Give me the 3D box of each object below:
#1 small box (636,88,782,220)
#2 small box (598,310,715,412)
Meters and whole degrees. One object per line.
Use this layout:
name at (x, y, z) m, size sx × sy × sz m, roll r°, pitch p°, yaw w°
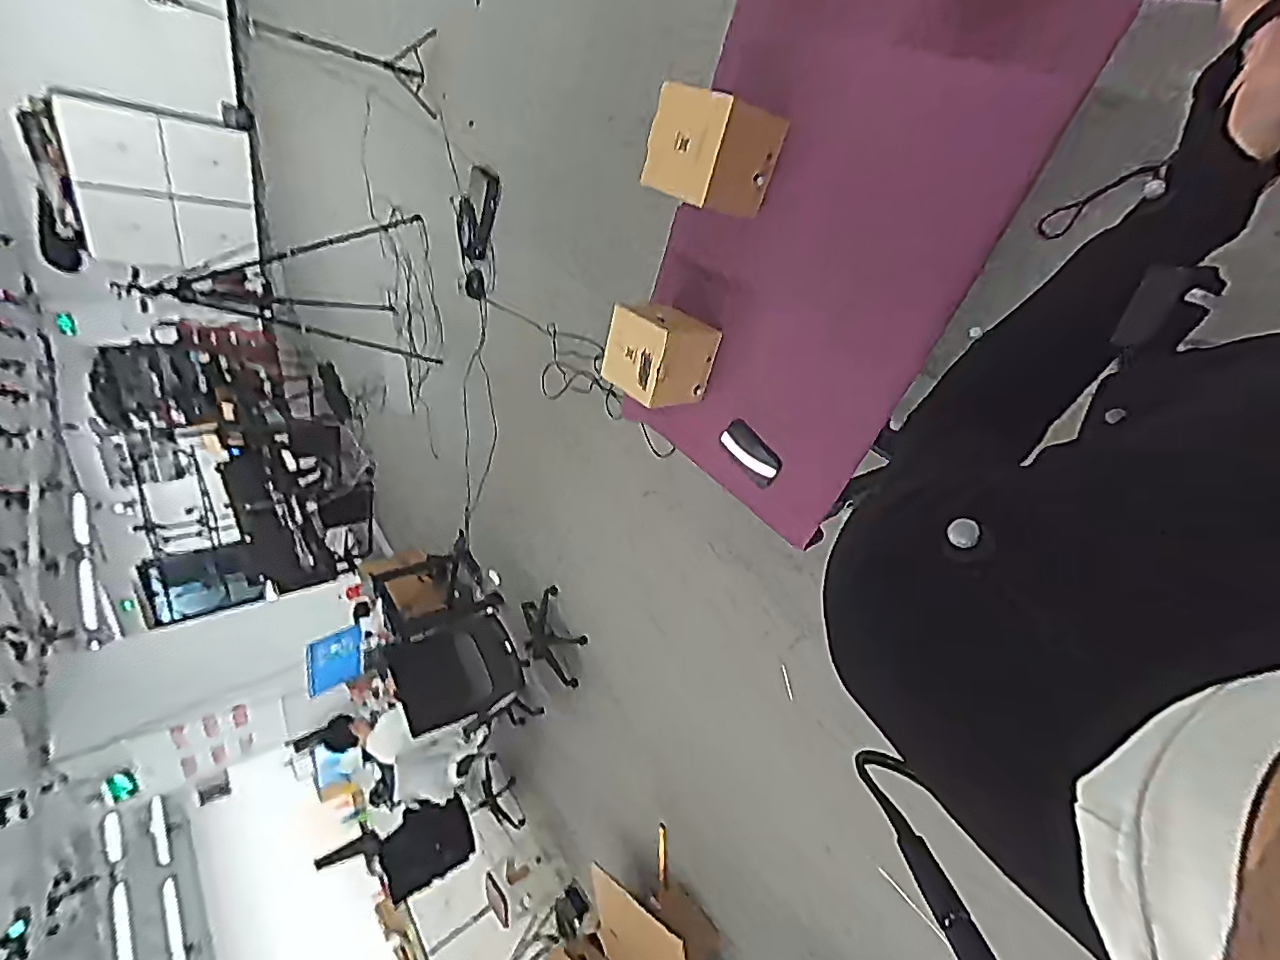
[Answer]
small box at (0.126, -0.597, 1.004) m, size 0.179 × 0.176 × 0.168 m, roll 41°, pitch 129°, yaw 33°
small box at (0.037, -0.267, 1.191) m, size 0.179 × 0.176 × 0.168 m, roll 39°, pitch 127°, yaw 36°
